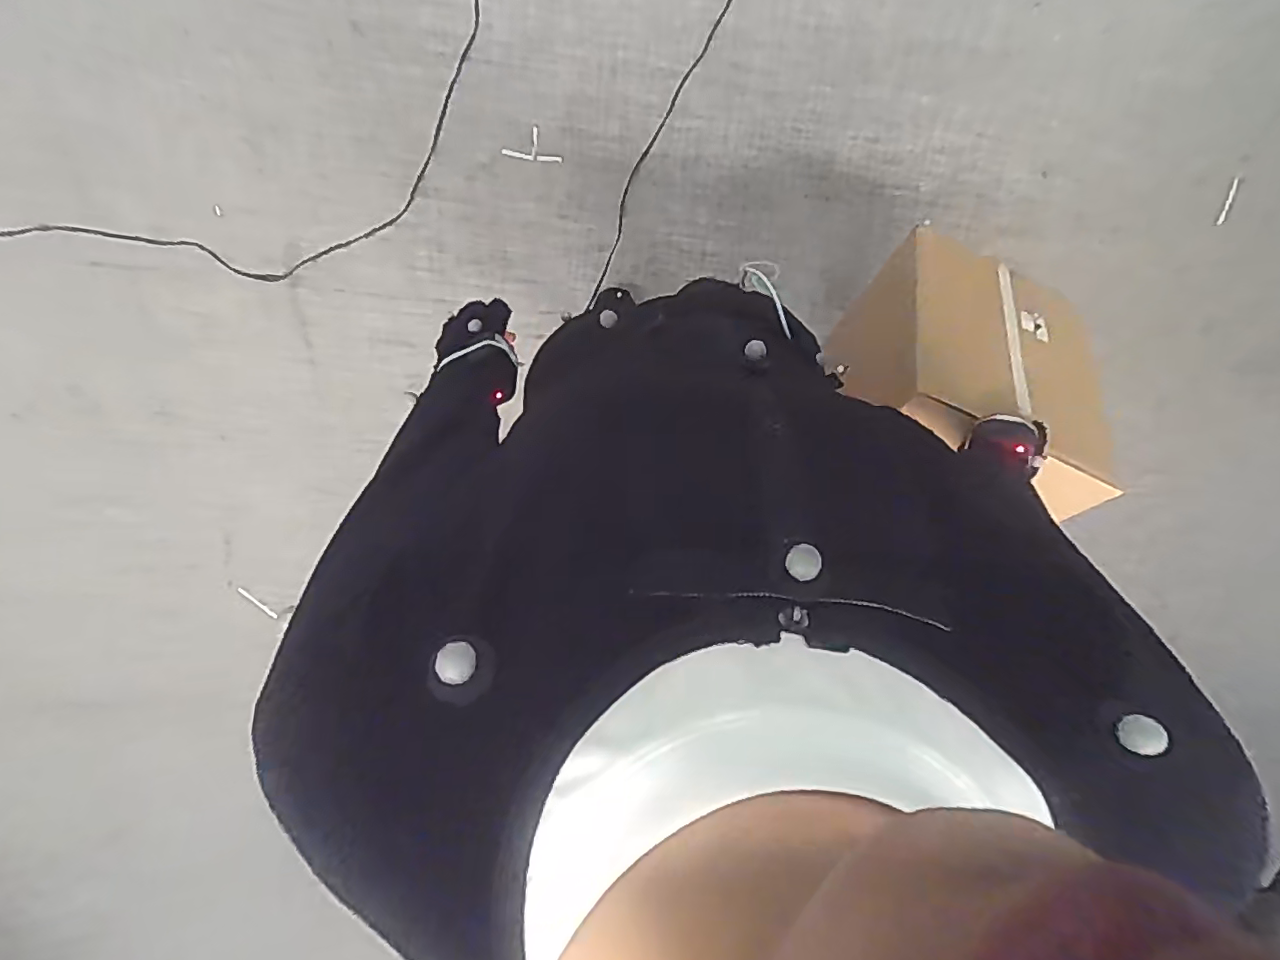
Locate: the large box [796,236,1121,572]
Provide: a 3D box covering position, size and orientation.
[{"bbox_3d":[0.494,-0.118,0.917,0.320,0.408,0.320,24,145,-5],"label":"large box"}]
